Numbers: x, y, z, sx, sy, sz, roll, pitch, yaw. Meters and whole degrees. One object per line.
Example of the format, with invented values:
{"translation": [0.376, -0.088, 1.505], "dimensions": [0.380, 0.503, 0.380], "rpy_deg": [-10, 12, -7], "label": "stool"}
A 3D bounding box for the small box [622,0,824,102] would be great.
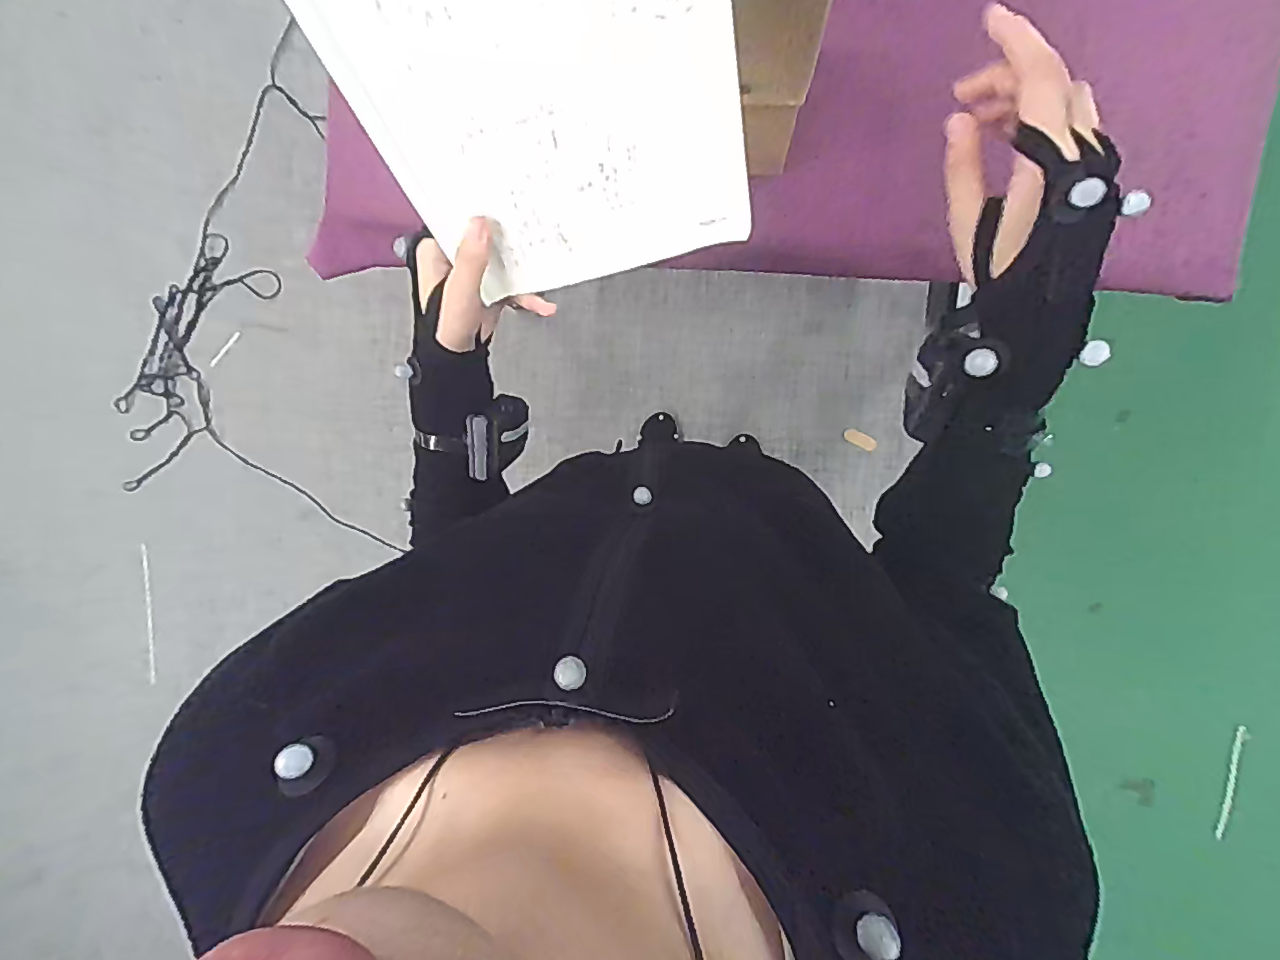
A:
{"translation": [0.082, -0.470, 0.477], "dimensions": [0.168, 0.176, 0.179], "rpy_deg": [5, 95, 7], "label": "small box"}
